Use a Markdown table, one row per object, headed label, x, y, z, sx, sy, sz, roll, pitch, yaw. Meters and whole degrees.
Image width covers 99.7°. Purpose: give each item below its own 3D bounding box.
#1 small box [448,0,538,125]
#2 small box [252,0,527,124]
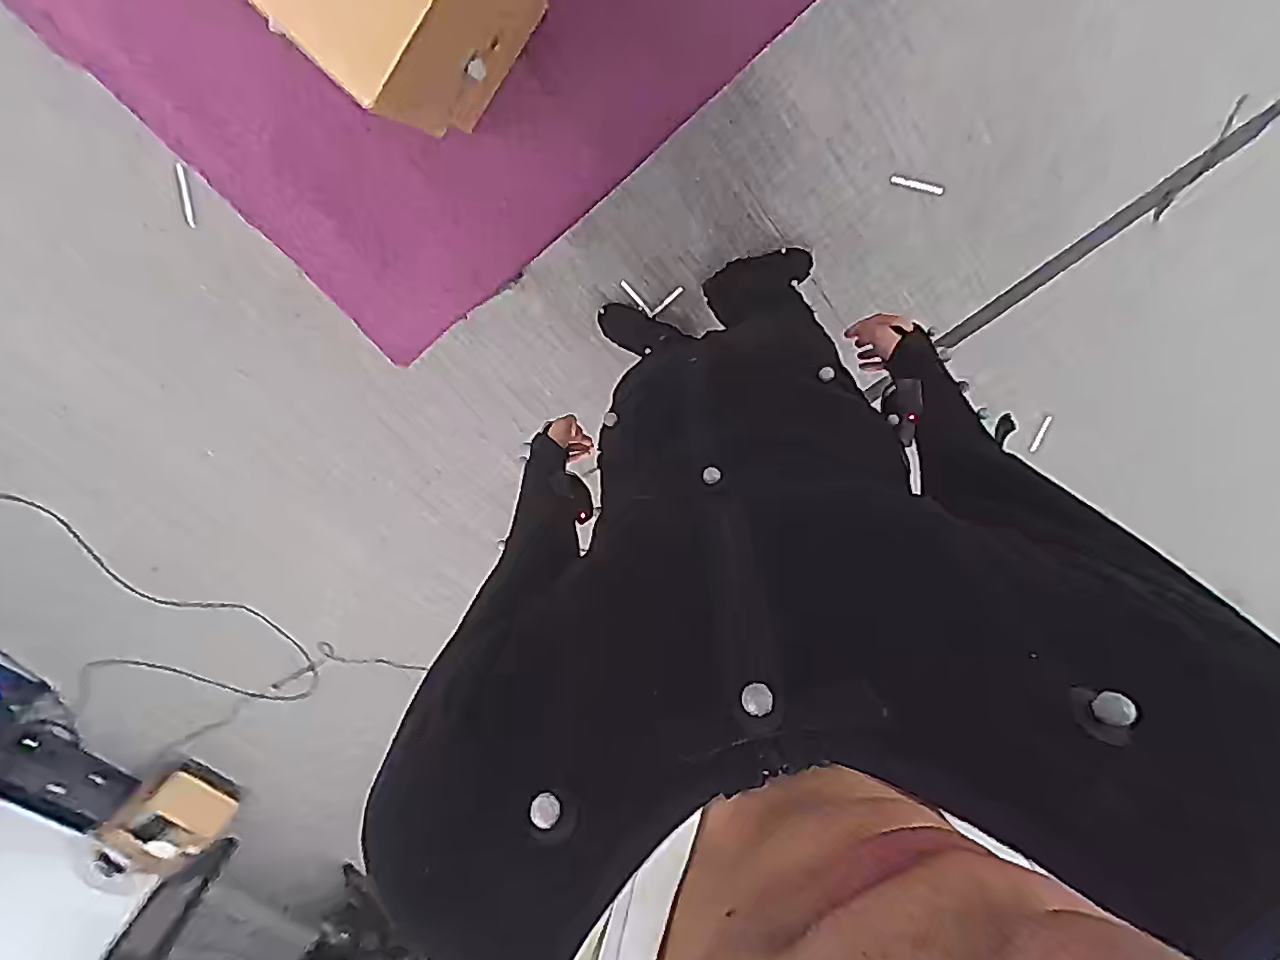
| label | x | y | z | sx | sy | sz | roll | pitch | yaw |
| --- | --- | --- | --- | --- | --- | --- | --- | --- | --- |
| small box | -0.227 | -0.515 | 0.568 | 0.168 | 0.176 | 0.179 | 38 | 110 | -16 |
| small box | -0.215 | -0.423 | 0.429 | 0.179 | 0.176 | 0.168 | 40 | 110 | -18 |
